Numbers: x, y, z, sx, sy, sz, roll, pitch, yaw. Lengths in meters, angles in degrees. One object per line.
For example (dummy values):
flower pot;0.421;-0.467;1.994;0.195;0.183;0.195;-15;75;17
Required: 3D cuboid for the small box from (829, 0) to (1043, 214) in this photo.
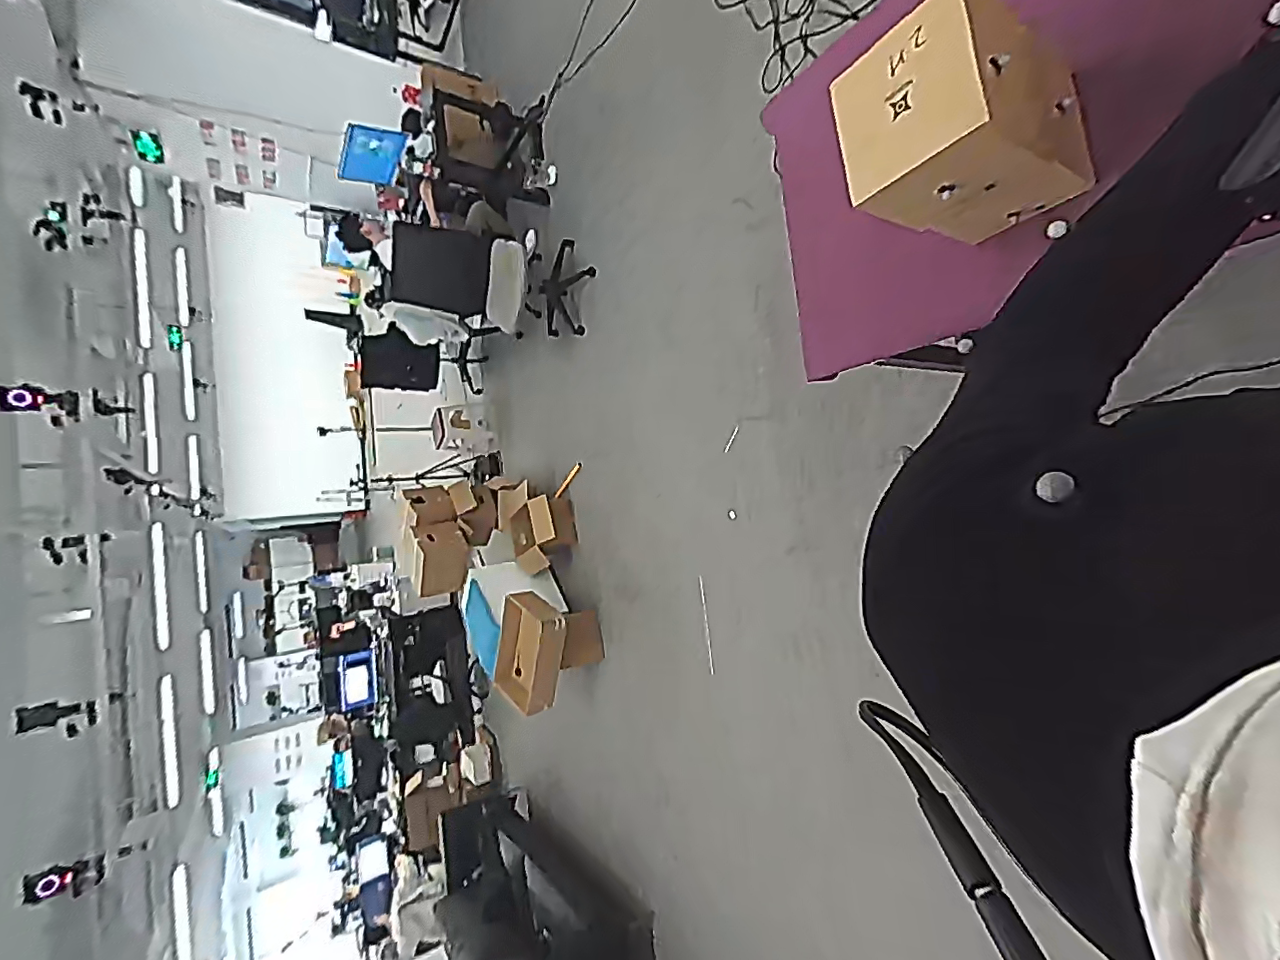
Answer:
small box;0.371;-0.460;0.679;0.168;0.176;0.179;-15;82;55
